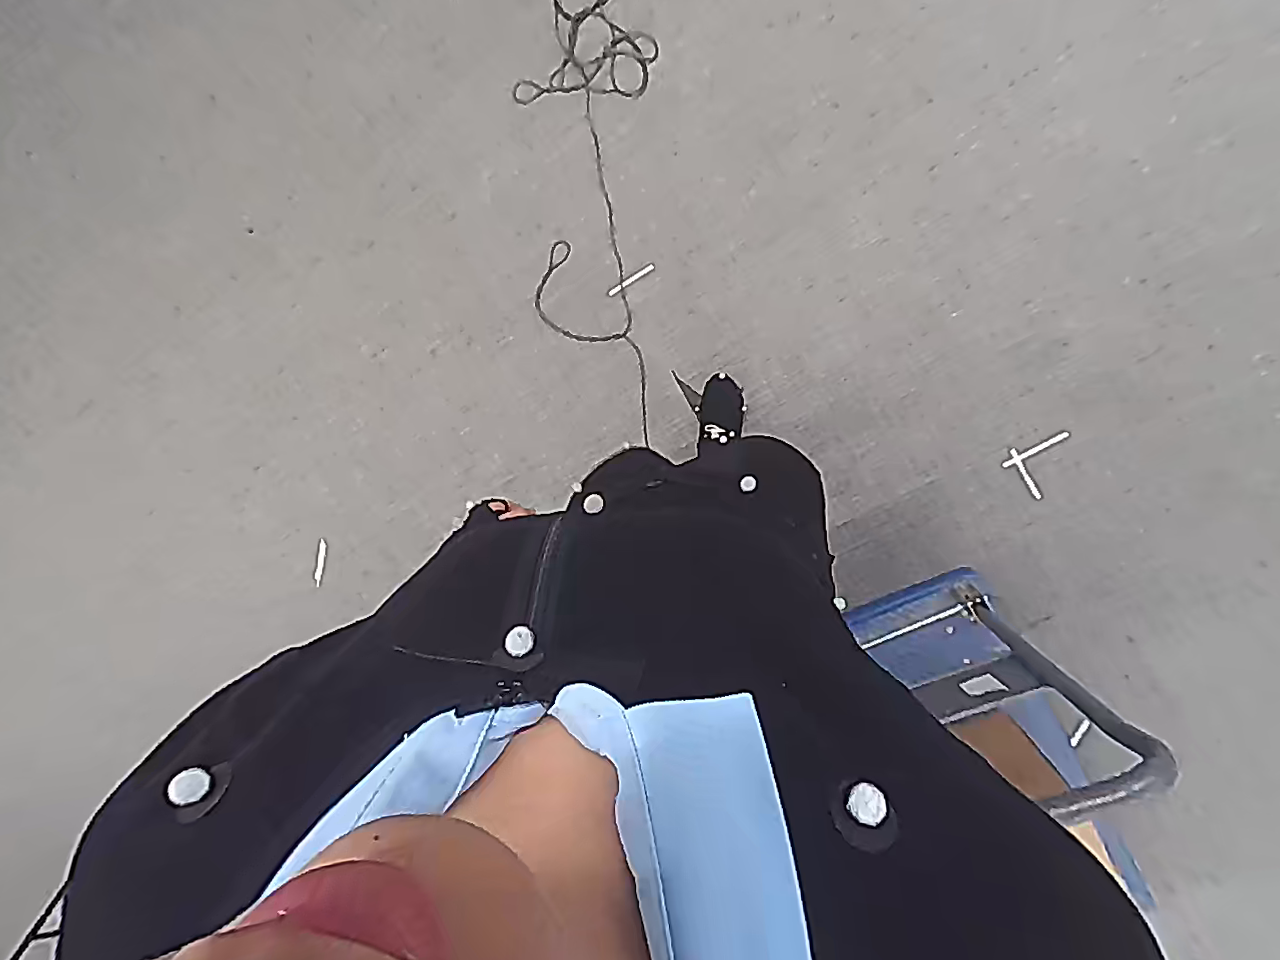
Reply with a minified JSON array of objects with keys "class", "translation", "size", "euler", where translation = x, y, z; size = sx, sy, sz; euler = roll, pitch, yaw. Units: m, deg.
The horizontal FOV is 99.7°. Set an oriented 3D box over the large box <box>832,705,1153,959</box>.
[{"class":"large box","translation":[0.670,0.736,1.113],"size":[0.408,0.320,0.320],"euler":[-26,92,13]}]
